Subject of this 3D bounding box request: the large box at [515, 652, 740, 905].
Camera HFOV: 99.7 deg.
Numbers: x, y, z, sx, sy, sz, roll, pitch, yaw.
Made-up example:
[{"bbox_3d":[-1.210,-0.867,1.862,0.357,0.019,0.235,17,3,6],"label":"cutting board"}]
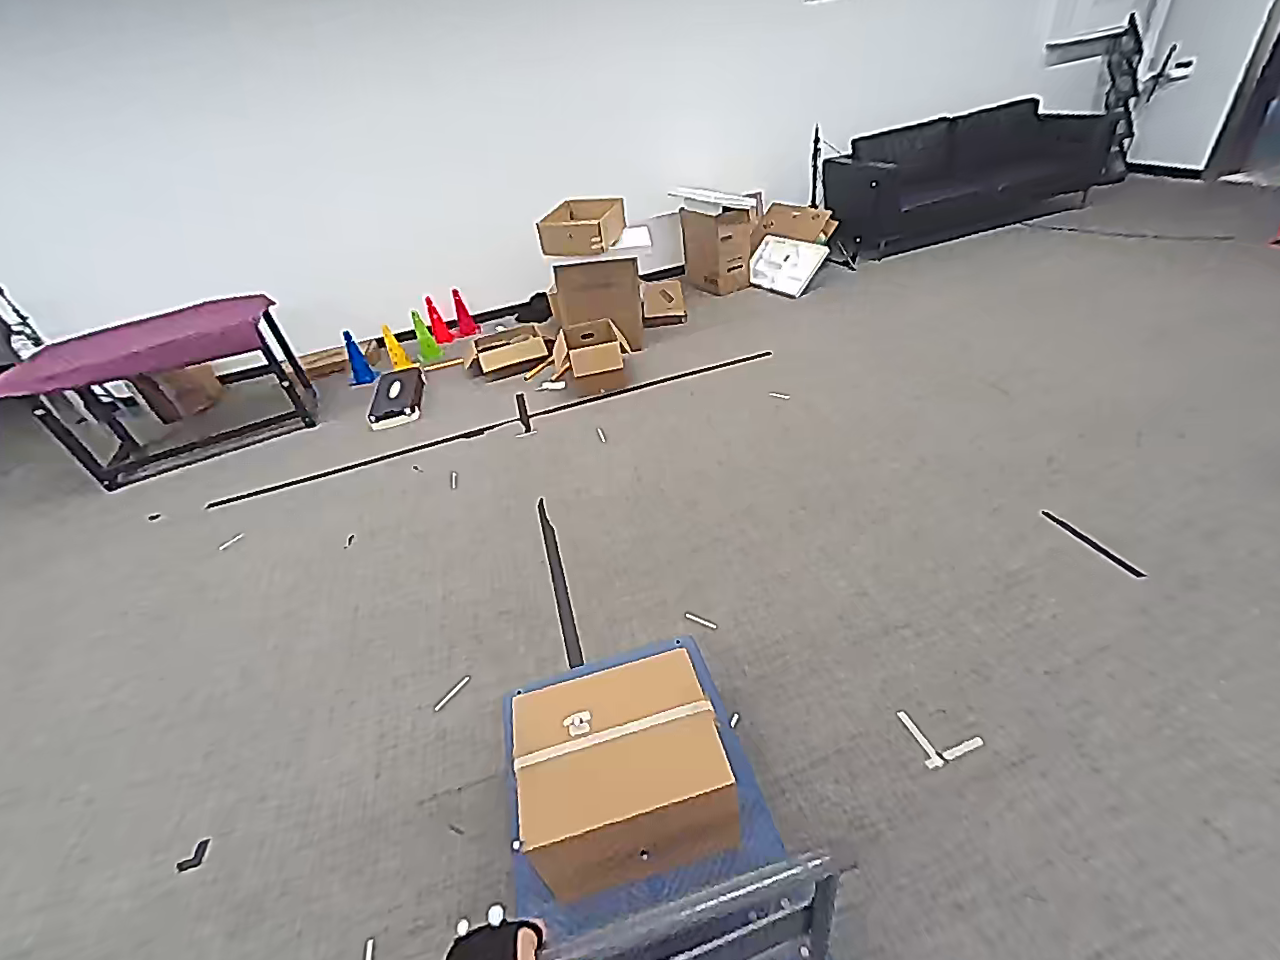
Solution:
[{"bbox_3d":[-0.028,0.648,1.189,0.408,0.320,0.320,-16,36,-6],"label":"large box"}]
